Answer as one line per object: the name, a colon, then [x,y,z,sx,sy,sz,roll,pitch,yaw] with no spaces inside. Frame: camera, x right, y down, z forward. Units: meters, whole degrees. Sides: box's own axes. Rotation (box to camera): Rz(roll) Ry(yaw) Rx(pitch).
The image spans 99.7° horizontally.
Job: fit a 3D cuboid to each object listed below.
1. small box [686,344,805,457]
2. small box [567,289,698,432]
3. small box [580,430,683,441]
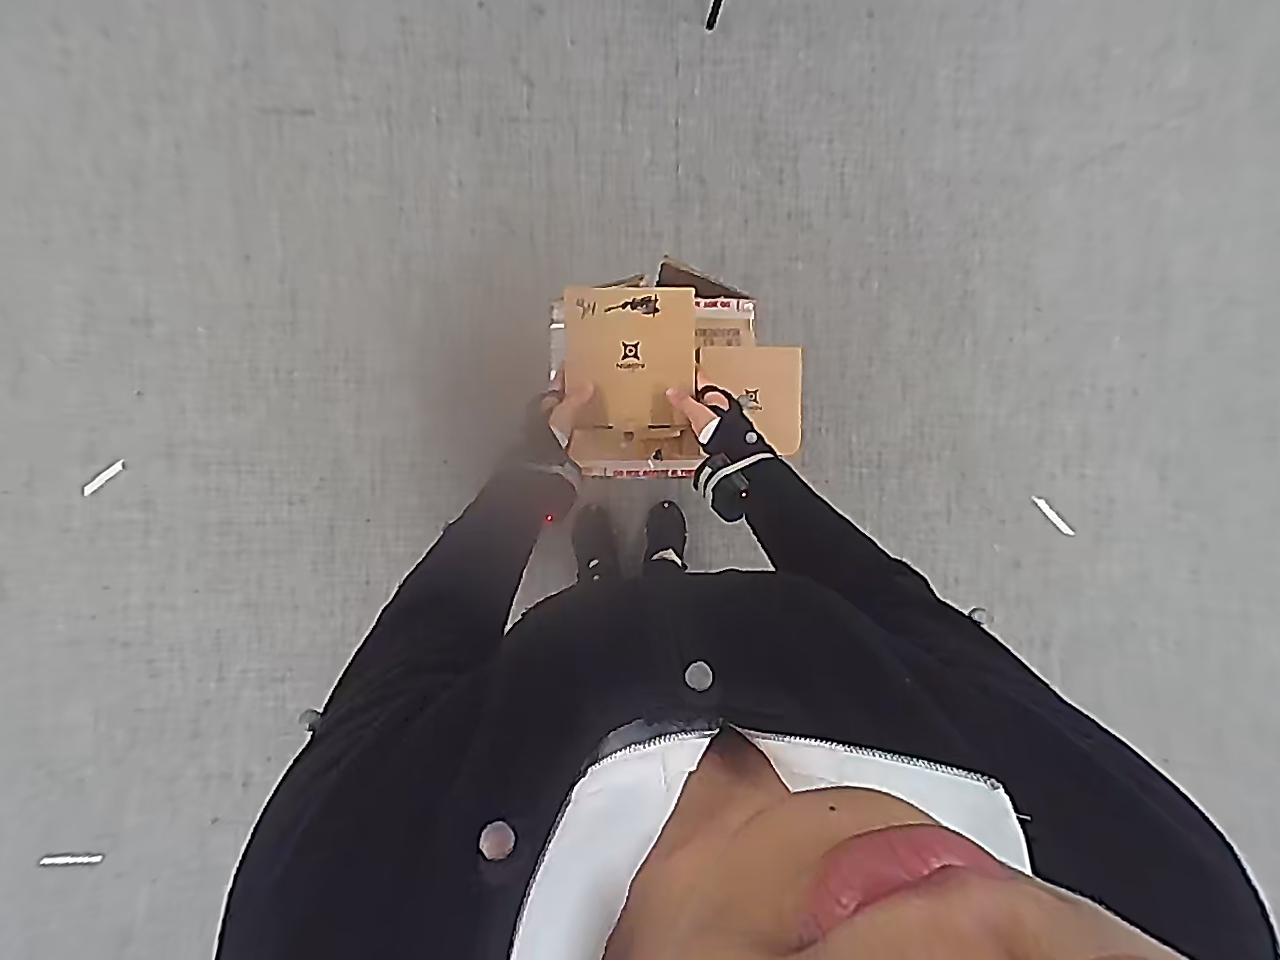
small box: [0.173,-0.129,0.933,0.168,0.176,0.179,0,93,-4]
small box: [-0.010,-0.158,0.755,0.168,0.176,0.179,-1,95,-2]
small box: [-0.019,-0.157,0.921,0.168,0.176,0.179,-3,95,-2]
